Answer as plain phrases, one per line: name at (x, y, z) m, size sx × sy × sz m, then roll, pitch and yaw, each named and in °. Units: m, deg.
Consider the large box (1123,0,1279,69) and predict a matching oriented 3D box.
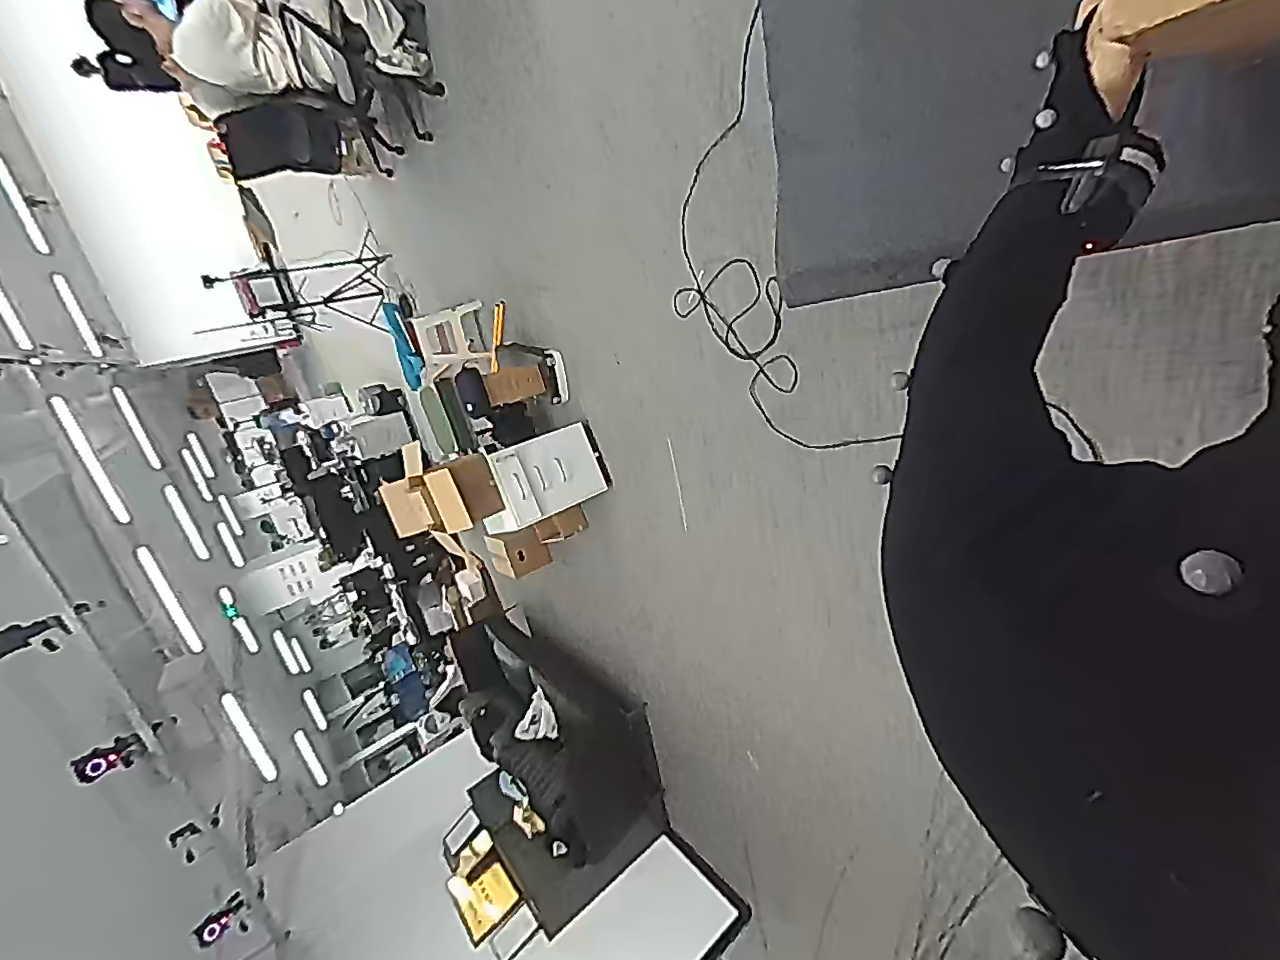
large box at (0.464, -0.412, 0.176) m, size 0.408 × 0.320 × 0.320 m, roll 12°, pitch 120°, yaw 51°
